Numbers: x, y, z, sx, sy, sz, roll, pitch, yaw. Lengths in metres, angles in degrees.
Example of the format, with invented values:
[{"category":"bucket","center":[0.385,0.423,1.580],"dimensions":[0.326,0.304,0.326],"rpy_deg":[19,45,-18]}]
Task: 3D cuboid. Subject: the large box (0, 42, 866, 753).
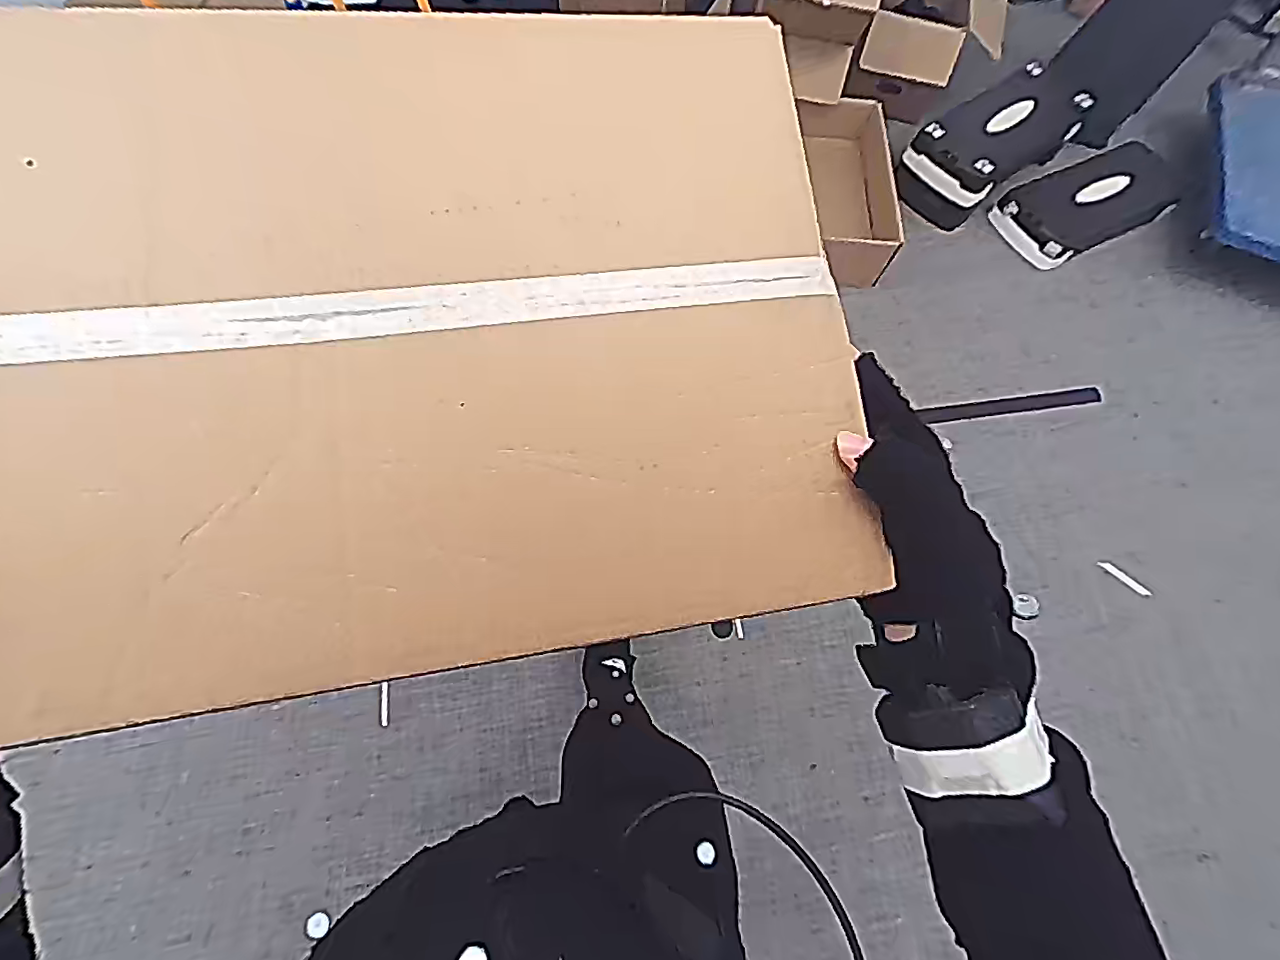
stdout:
[{"category":"large box","center":[-0.122,-0.048,0.401],"dimensions":[0.408,0.320,0.320],"rpy_deg":[-8,82,-9]}]
